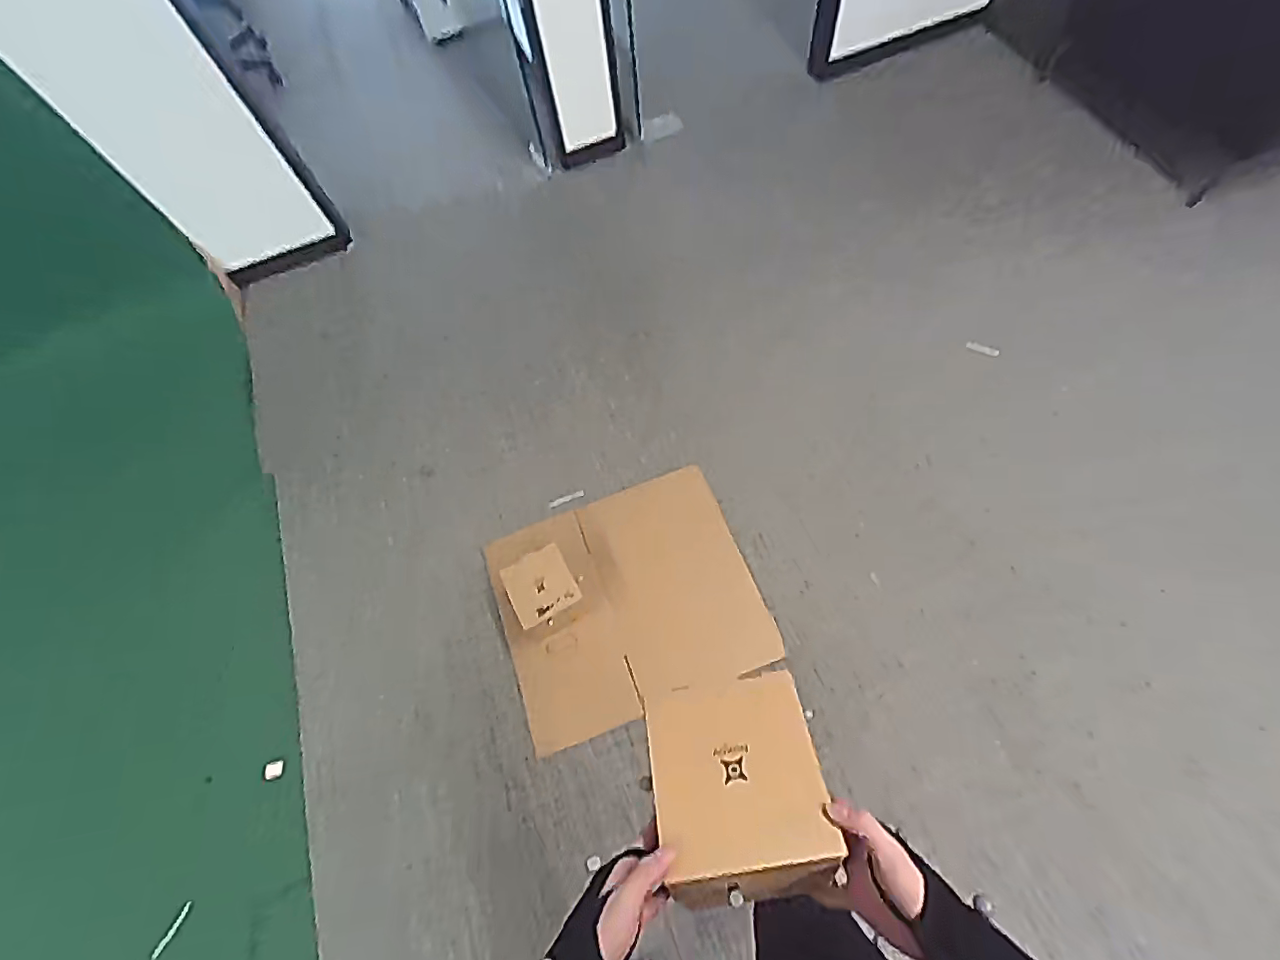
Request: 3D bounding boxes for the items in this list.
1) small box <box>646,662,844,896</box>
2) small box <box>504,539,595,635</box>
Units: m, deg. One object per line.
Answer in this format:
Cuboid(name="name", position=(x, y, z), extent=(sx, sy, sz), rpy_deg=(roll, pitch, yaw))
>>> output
Cuboid(name="small box", position=(0.108, 0.330, 0.589), extent=(0.168, 0.176, 0.179), rpy_deg=(-11, 43, 3))
Cuboid(name="small box", position=(-0.238, 0.290, 1.443), extent=(0.168, 0.176, 0.179), rpy_deg=(-28, 66, -7))
